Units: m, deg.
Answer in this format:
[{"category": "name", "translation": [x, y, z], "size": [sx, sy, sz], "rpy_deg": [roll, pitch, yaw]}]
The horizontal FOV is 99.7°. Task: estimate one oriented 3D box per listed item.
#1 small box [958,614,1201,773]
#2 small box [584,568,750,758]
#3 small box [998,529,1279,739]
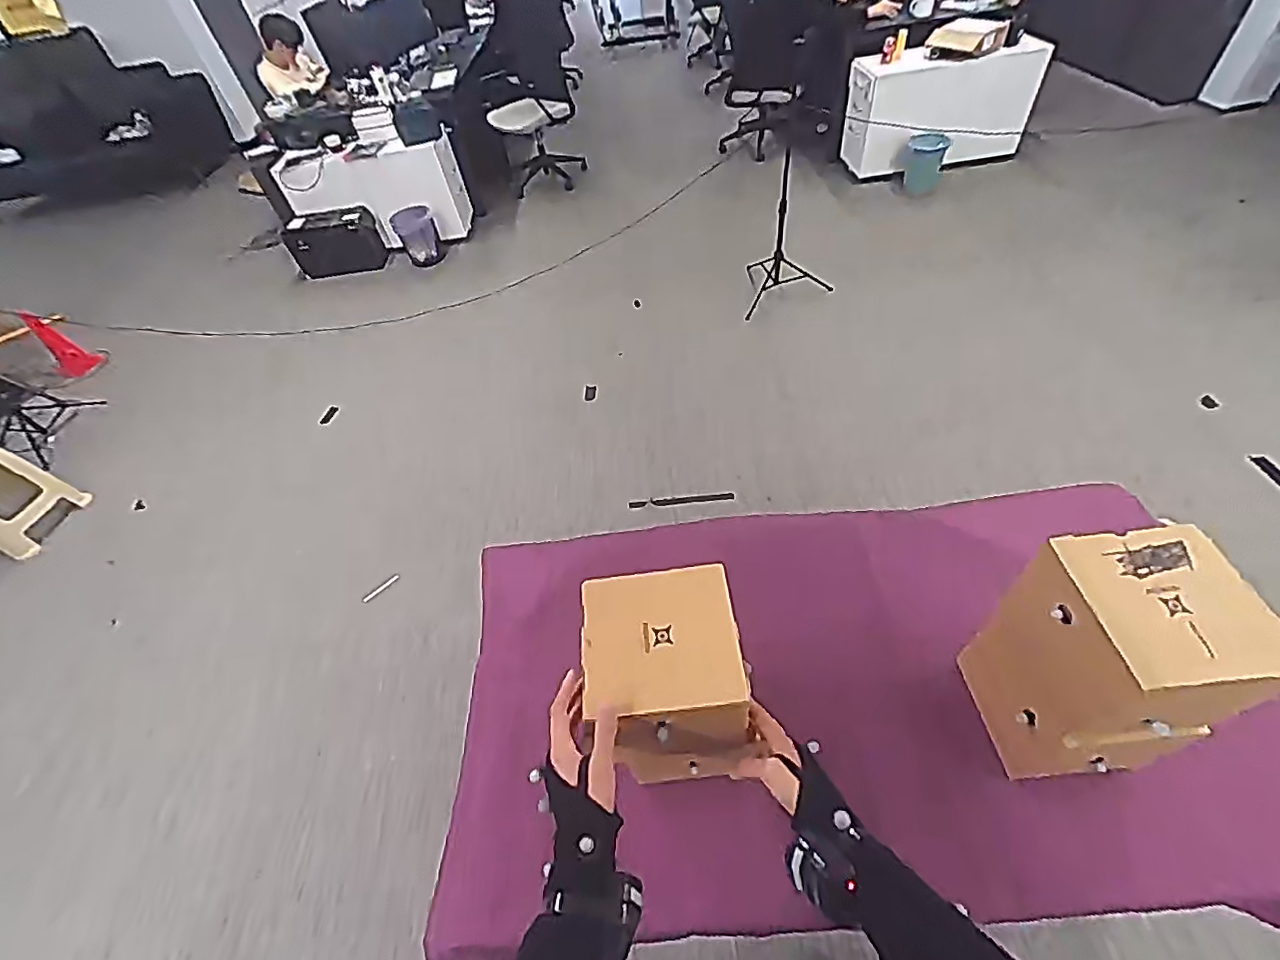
[{"category": "small box", "translation": [0.580, 0.293, 0.747], "size": [0.168, 0.176, 0.179], "rpy_deg": [-7, 49, 3]}, {"category": "small box", "translation": [0.033, 0.230, 0.669], "size": [0.179, 0.176, 0.168], "rpy_deg": [-9, 50, 4]}, {"category": "small box", "translation": [0.561, 0.180, 0.628], "size": [0.168, 0.176, 0.179], "rpy_deg": [-7, 50, 4]}]
